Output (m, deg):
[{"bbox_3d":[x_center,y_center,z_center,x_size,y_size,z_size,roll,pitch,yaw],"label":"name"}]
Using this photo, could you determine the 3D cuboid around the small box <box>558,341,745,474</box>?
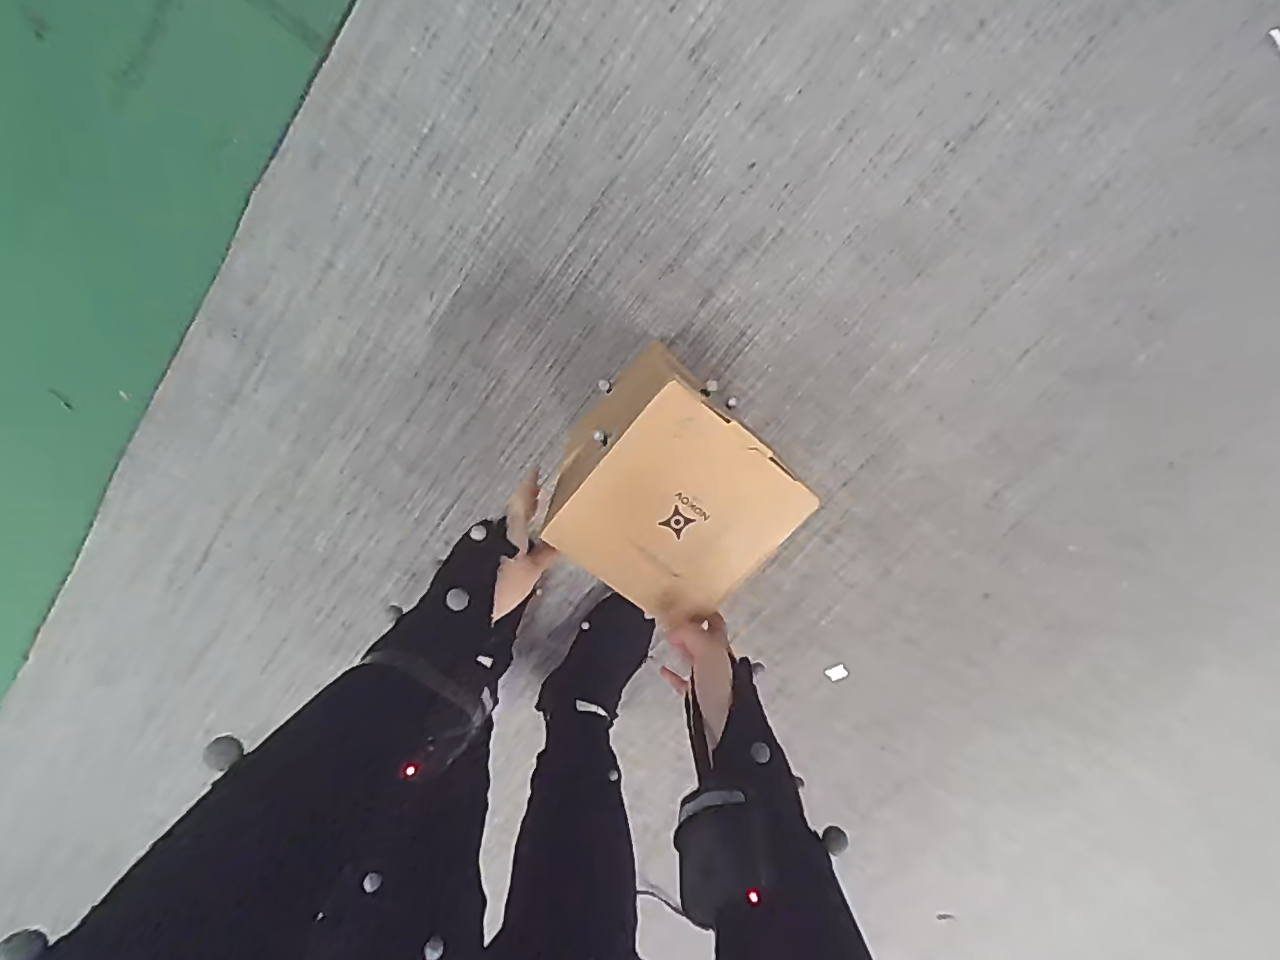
[{"bbox_3d":[0.023,-0.052,0.675,0.168,0.176,0.179,40,104,-14],"label":"small box"}]

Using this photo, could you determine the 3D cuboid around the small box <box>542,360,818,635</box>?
[{"bbox_3d":[0.030,0.004,0.522,0.168,0.176,0.179,37,105,-12],"label":"small box"}]
